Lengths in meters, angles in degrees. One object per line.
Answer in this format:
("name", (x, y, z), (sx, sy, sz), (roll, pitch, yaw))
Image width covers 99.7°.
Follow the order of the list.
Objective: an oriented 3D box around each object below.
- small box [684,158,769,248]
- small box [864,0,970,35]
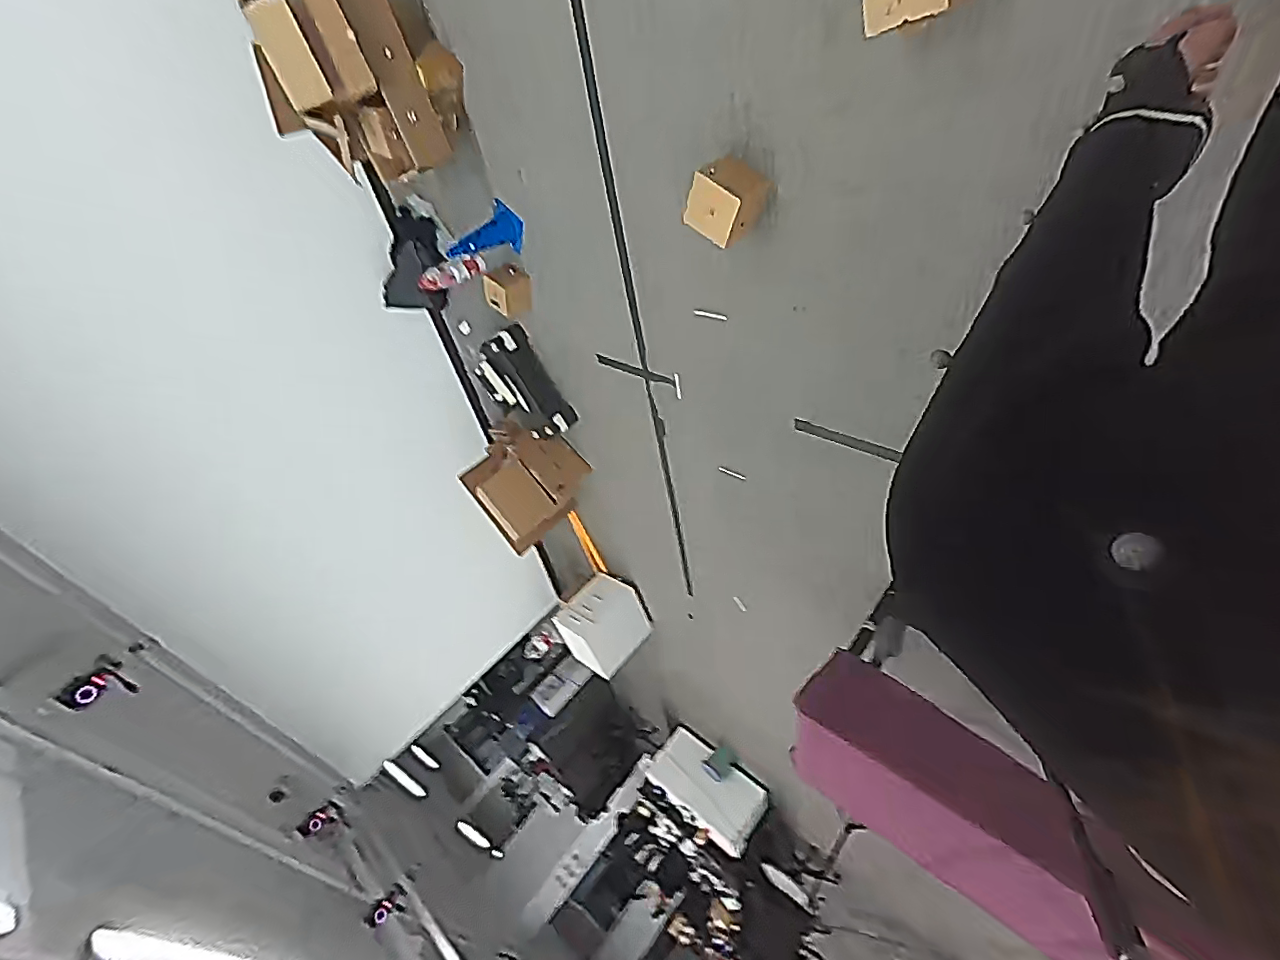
("small box", (0.268, -0.860, 1.670), (0.179, 0.176, 0.168), (41, 150, 14))
("small box", (0.560, -1.029, 1.074), (0.168, 0.176, 0.179), (17, 138, 43))
